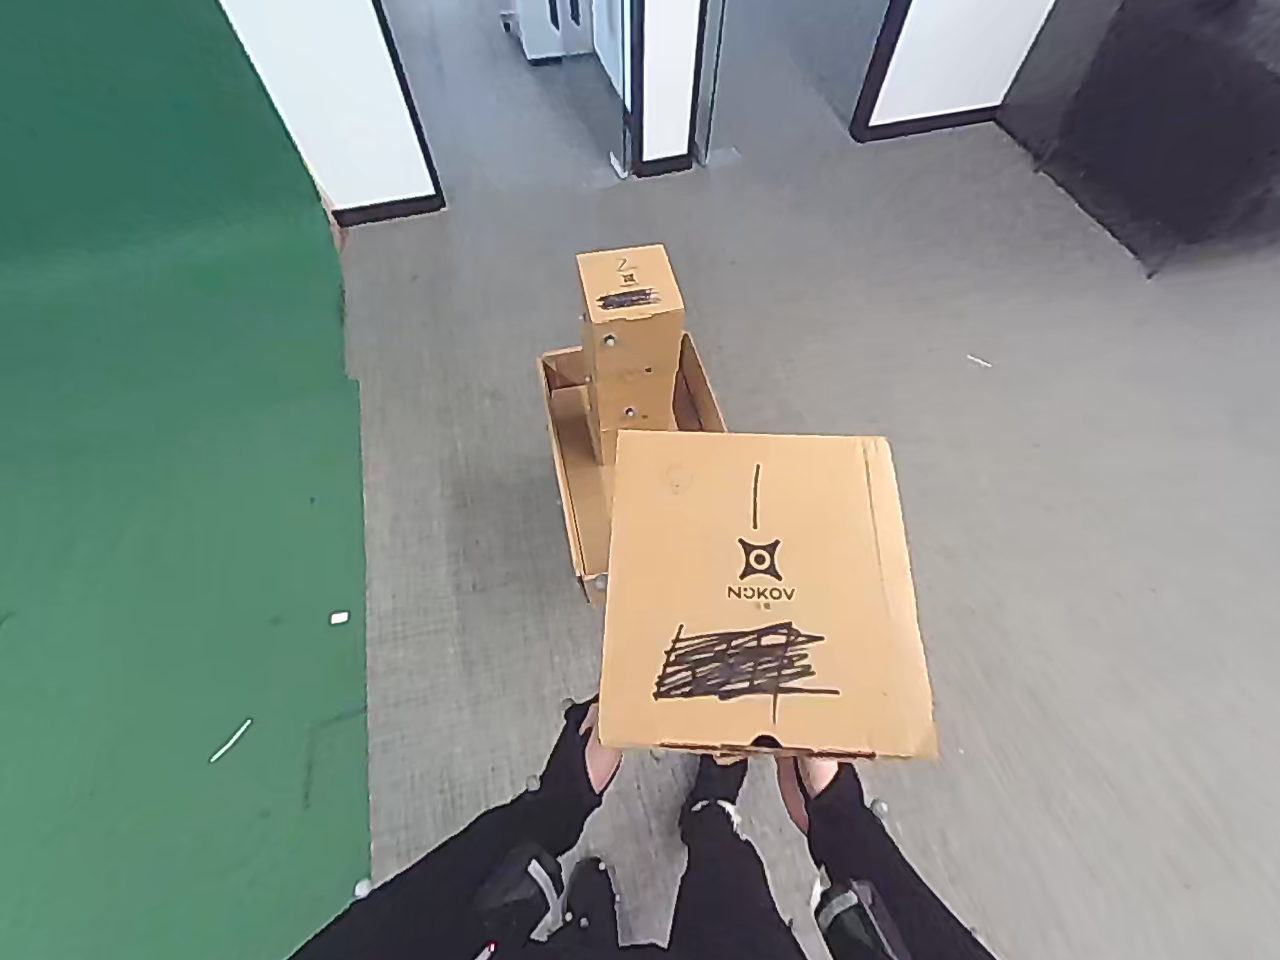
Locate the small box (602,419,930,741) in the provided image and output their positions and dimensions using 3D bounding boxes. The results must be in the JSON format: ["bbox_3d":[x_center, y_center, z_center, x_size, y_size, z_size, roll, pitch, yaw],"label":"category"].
[{"bbox_3d":[0.069,0.076,0.374,0.168,0.176,0.179,2,66,2],"label":"small box"}]

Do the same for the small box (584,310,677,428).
[{"bbox_3d":[-0.026,-0.240,1.181,0.168,0.176,0.179,-11,63,-8],"label":"small box"}]

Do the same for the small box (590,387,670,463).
[{"bbox_3d":[-0.029,-0.165,1.325,0.168,0.176,0.179,-11,63,-6],"label":"small box"}]
